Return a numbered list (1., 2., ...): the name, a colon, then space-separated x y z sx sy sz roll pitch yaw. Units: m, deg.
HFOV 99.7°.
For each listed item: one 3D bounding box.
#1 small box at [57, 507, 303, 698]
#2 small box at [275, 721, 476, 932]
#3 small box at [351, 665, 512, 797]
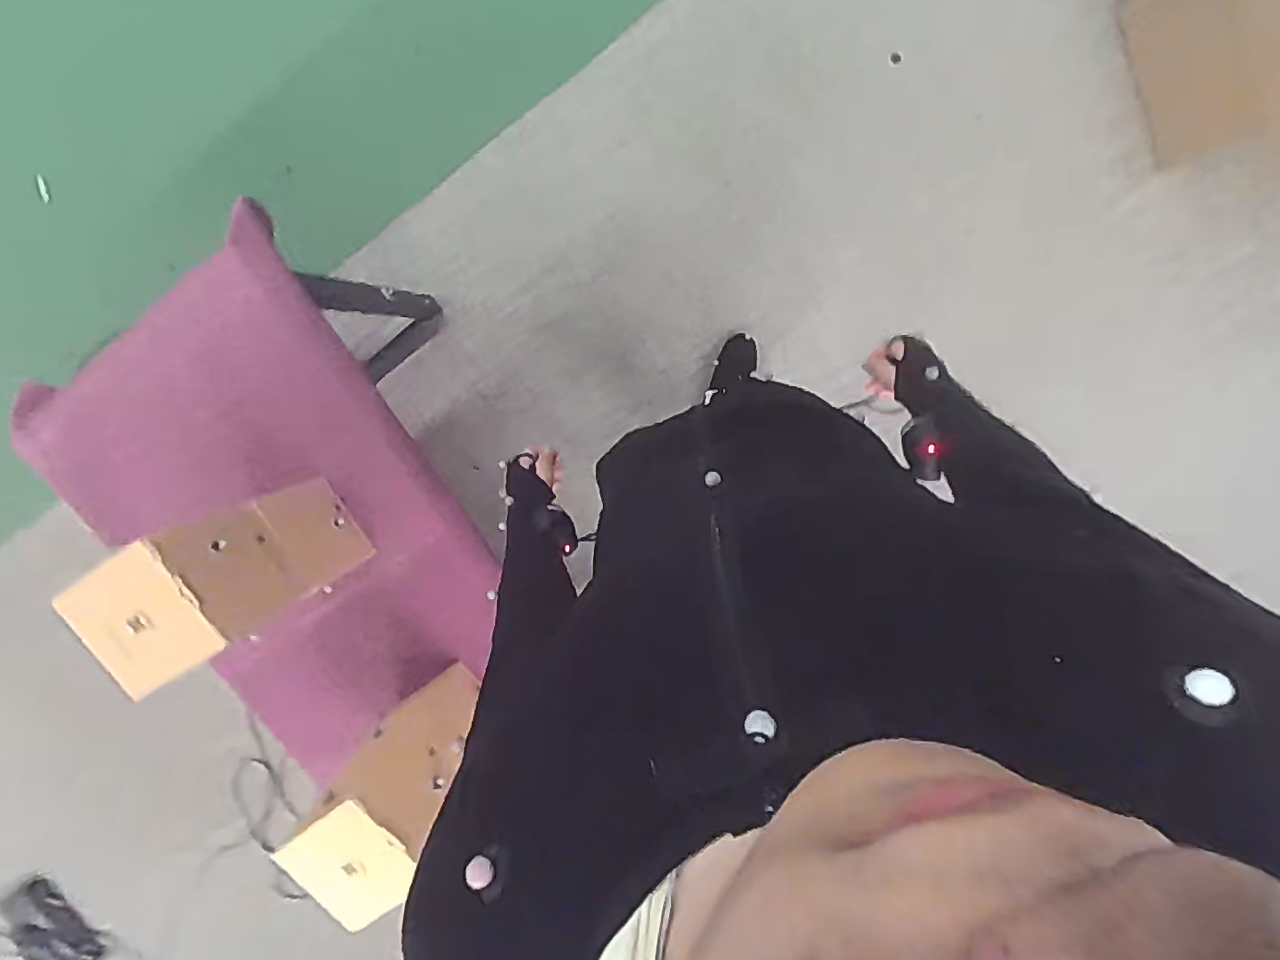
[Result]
1. small box: -0.619 0.159 0.758 0.179 0.176 0.168 -30 98 12
2. small box: -0.384 0.511 0.816 0.179 0.176 0.168 -39 96 13
3. small box: -0.362 0.473 0.973 0.179 0.176 0.168 -37 97 13
